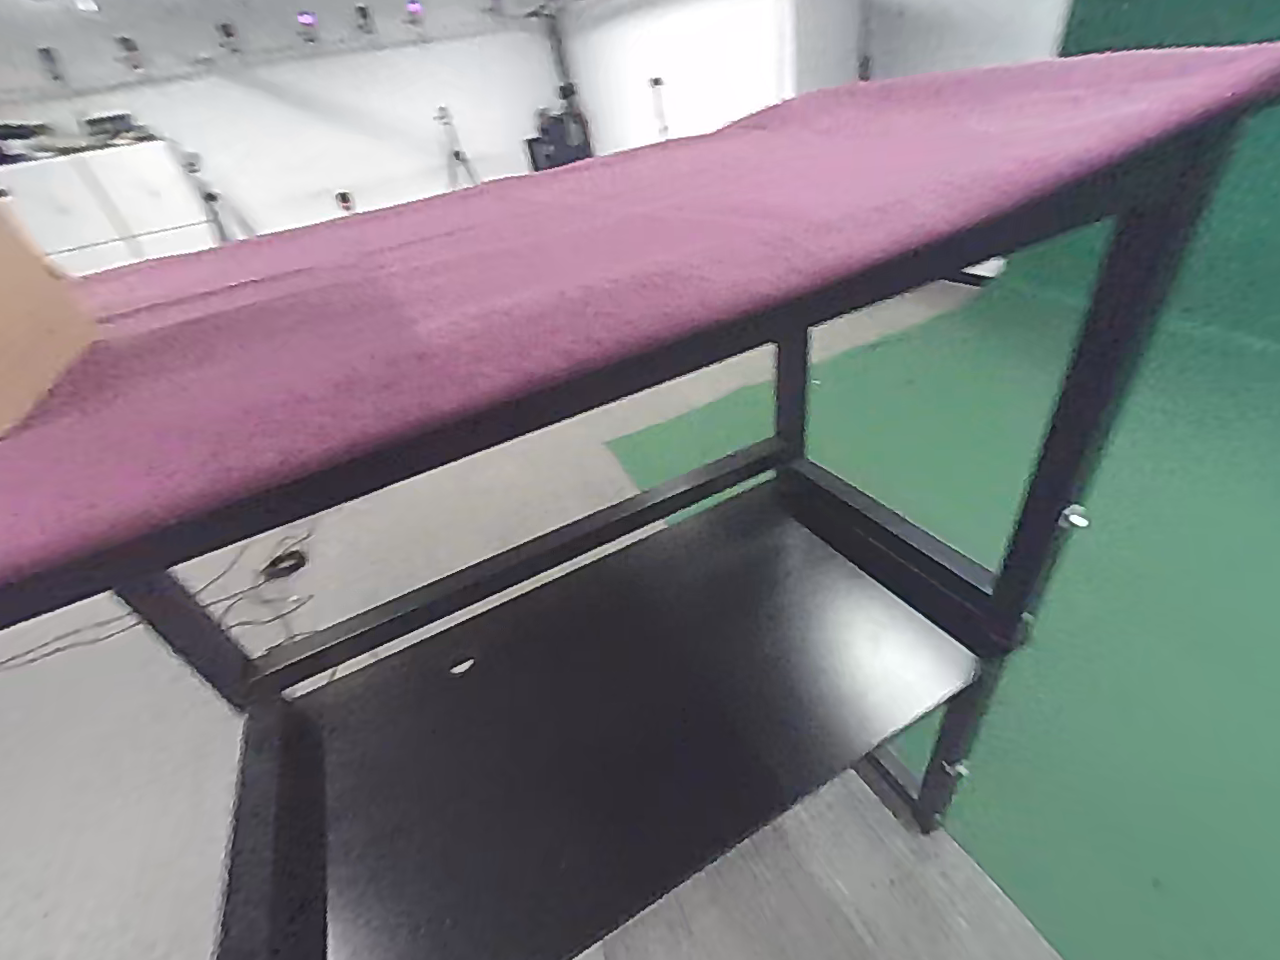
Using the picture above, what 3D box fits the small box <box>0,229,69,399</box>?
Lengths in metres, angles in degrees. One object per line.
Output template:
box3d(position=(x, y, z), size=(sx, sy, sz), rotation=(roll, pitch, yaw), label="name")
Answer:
box3d(position=(-0.398, -0.092, 0.214), size=(0.168, 0.176, 0.179), rotation=(-27, 40, -19), label="small box")
